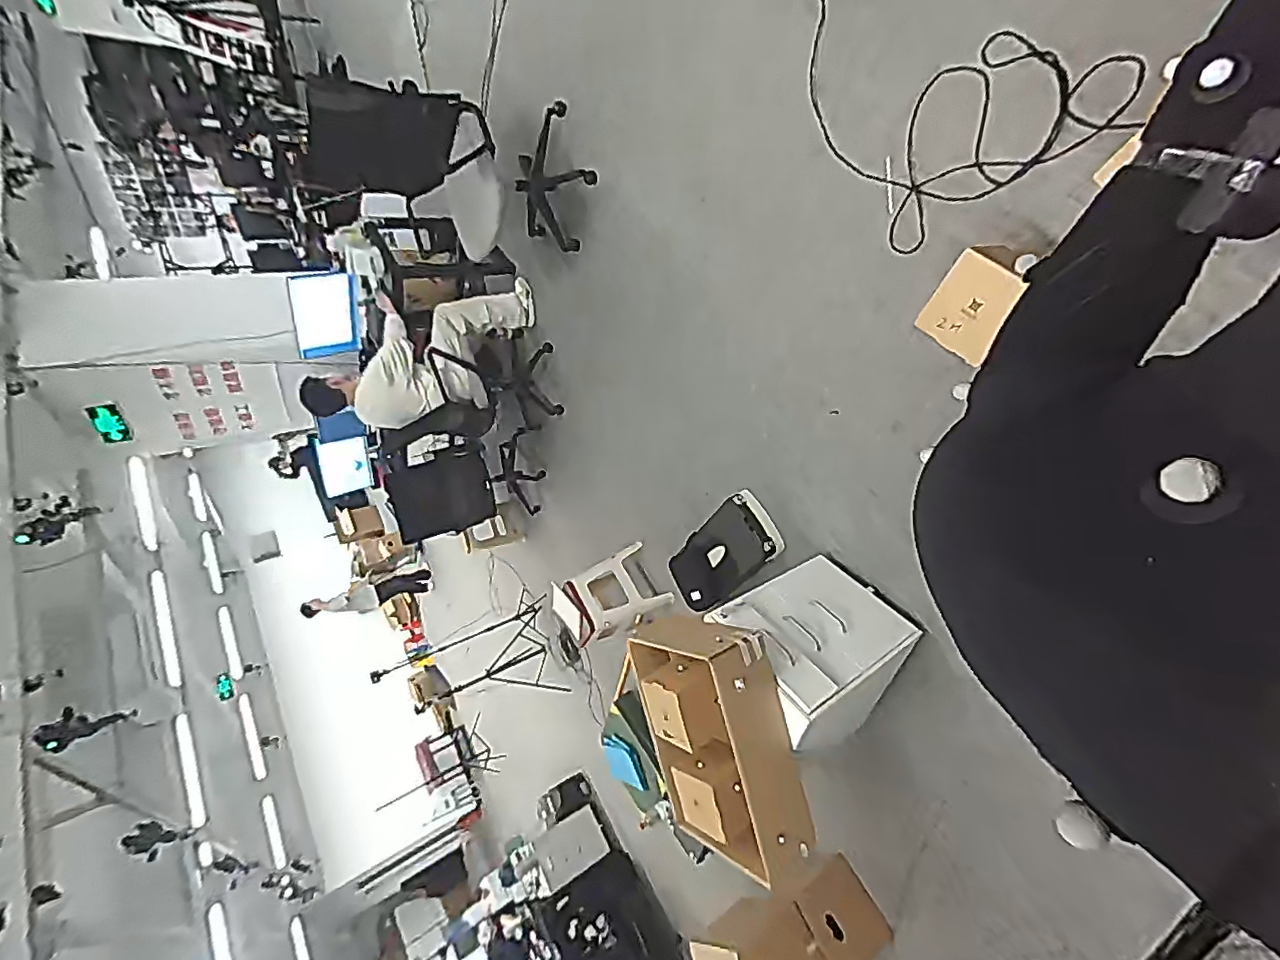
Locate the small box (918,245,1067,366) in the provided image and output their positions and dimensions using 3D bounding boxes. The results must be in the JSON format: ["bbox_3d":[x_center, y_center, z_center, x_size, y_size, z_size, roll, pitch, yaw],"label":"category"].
[{"bbox_3d":[0.725,-0.363,1.108,0.168,0.176,0.179,51,142,28],"label":"small box"}]

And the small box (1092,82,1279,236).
[{"bbox_3d":[0.972,-0.560,0.955,0.179,0.176,0.168,59,144,20],"label":"small box"}]

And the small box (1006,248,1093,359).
[{"bbox_3d":[0.855,-0.398,1.202,0.168,0.176,0.179,52,142,27],"label":"small box"}]
